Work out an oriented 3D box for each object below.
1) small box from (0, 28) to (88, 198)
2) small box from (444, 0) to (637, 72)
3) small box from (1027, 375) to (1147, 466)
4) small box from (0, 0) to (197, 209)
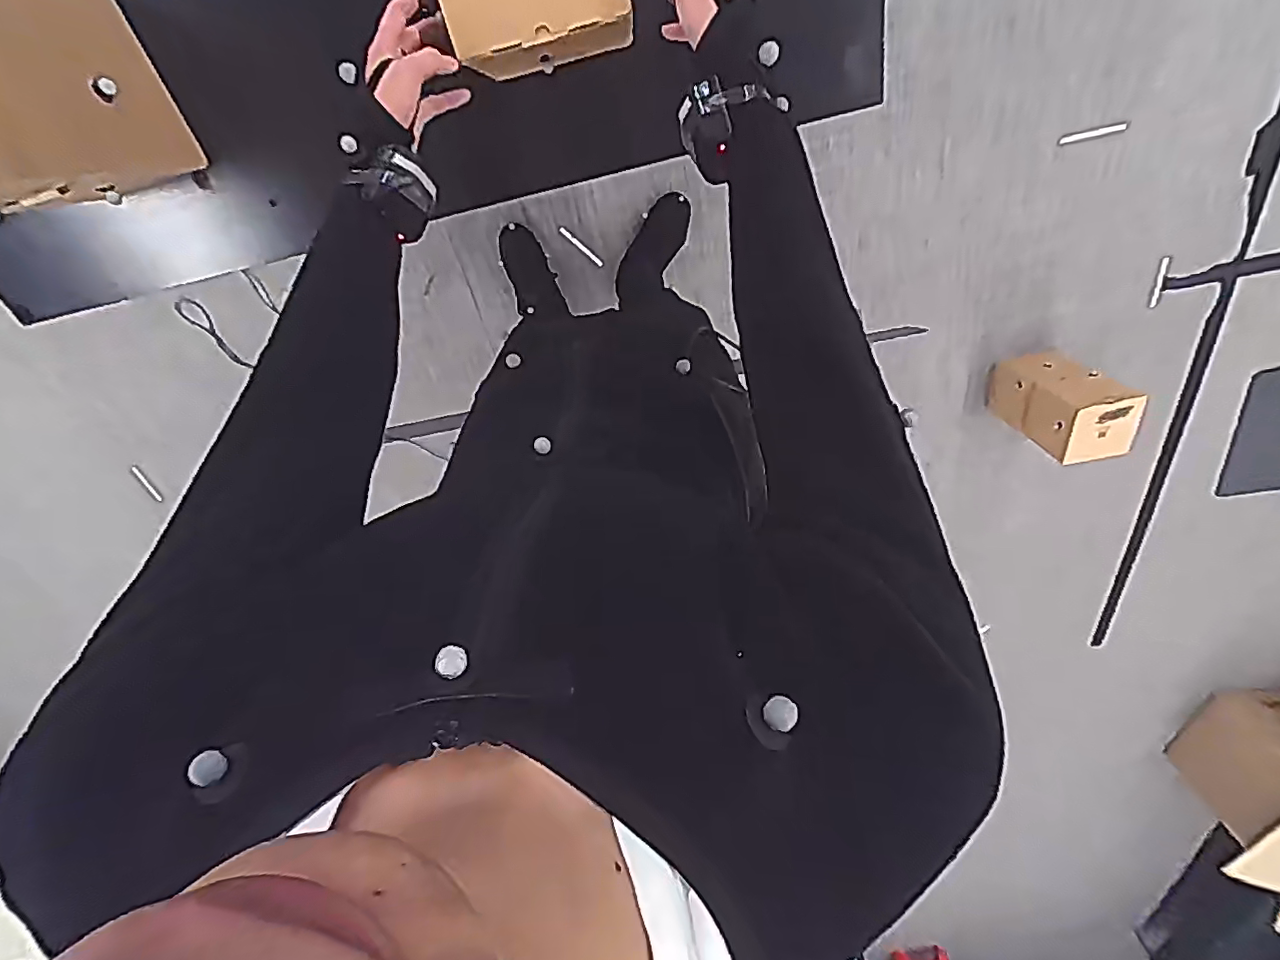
[{"bbox_3d":[-0.621,-0.312,0.418,0.168,0.176,0.179,-12,123,7],"label":"small box"},{"bbox_3d":[-0.103,-0.511,0.502,0.168,0.176,0.179,-12,123,6],"label":"small box"},{"bbox_3d":[1.171,-0.165,1.434,0.168,0.176,0.179,-11,124,5],"label":"small box"},{"bbox_3d":[-0.626,-0.401,0.557,0.168,0.176,0.179,-13,123,6],"label":"small box"}]
